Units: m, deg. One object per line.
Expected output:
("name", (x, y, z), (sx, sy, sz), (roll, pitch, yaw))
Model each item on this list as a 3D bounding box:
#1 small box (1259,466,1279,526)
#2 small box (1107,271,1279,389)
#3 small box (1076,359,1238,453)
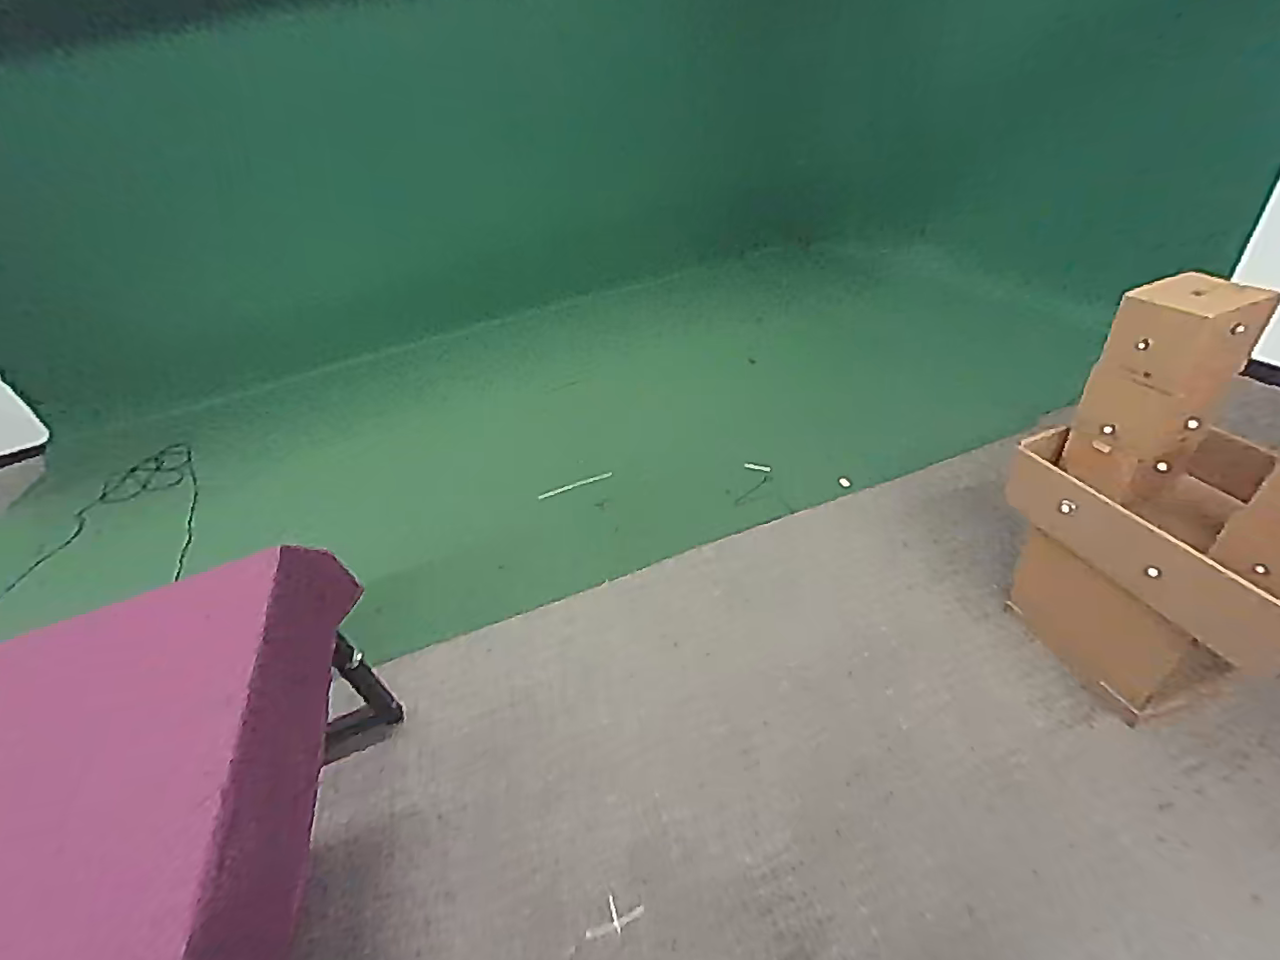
("small box", (1.236, 0.023, 0.918), (0.179, 0.176, 0.168), (-14, 38, -3))
("small box", (1.114, -0.306, 1.108), (0.179, 0.176, 0.168), (-18, 37, -7))
("small box", (1.140, -0.178, 1.210), (0.168, 0.176, 0.179), (-19, 37, -8))
